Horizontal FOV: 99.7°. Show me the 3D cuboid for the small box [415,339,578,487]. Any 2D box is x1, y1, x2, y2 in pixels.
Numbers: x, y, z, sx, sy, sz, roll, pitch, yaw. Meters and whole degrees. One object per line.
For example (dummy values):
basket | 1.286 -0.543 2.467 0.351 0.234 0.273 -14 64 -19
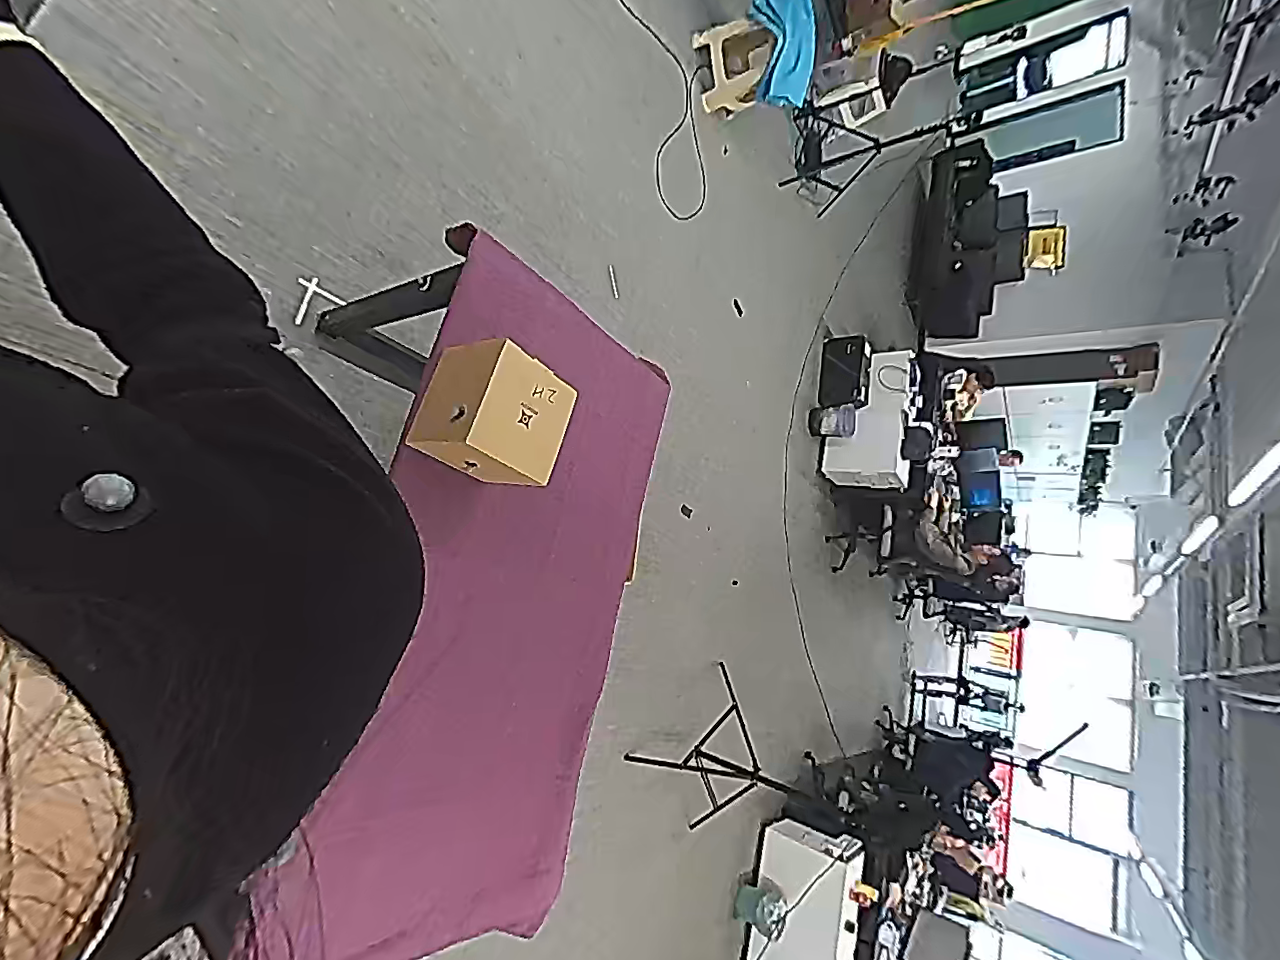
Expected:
small box | -0.236 -0.102 0.882 0.168 0.176 0.179 35 65 -48
